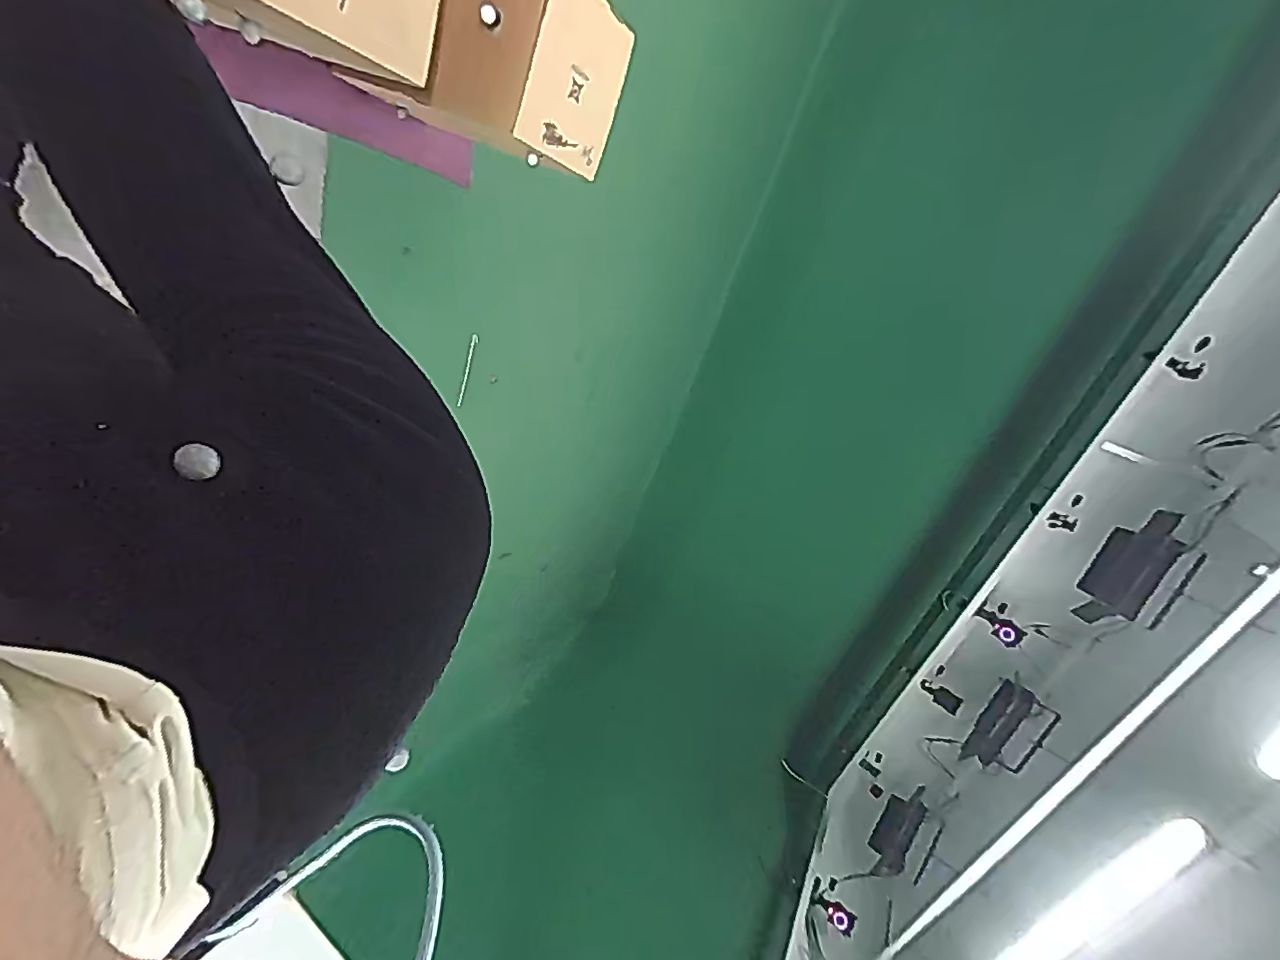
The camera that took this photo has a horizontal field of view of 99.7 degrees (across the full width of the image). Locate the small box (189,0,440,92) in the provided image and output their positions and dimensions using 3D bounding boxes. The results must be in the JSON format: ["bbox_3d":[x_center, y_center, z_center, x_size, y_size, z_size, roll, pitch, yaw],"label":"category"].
[{"bbox_3d":[-0.276,-0.453,0.425,0.168,0.176,0.179,-21,136,-59],"label":"small box"}]

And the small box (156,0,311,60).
[{"bbox_3d":[-0.412,-0.526,0.483,0.168,0.176,0.179,-22,136,-59],"label":"small box"}]

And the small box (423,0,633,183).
[{"bbox_3d":[-0.140,-0.504,0.667,0.168,0.176,0.179,-18,133,-60],"label":"small box"}]
